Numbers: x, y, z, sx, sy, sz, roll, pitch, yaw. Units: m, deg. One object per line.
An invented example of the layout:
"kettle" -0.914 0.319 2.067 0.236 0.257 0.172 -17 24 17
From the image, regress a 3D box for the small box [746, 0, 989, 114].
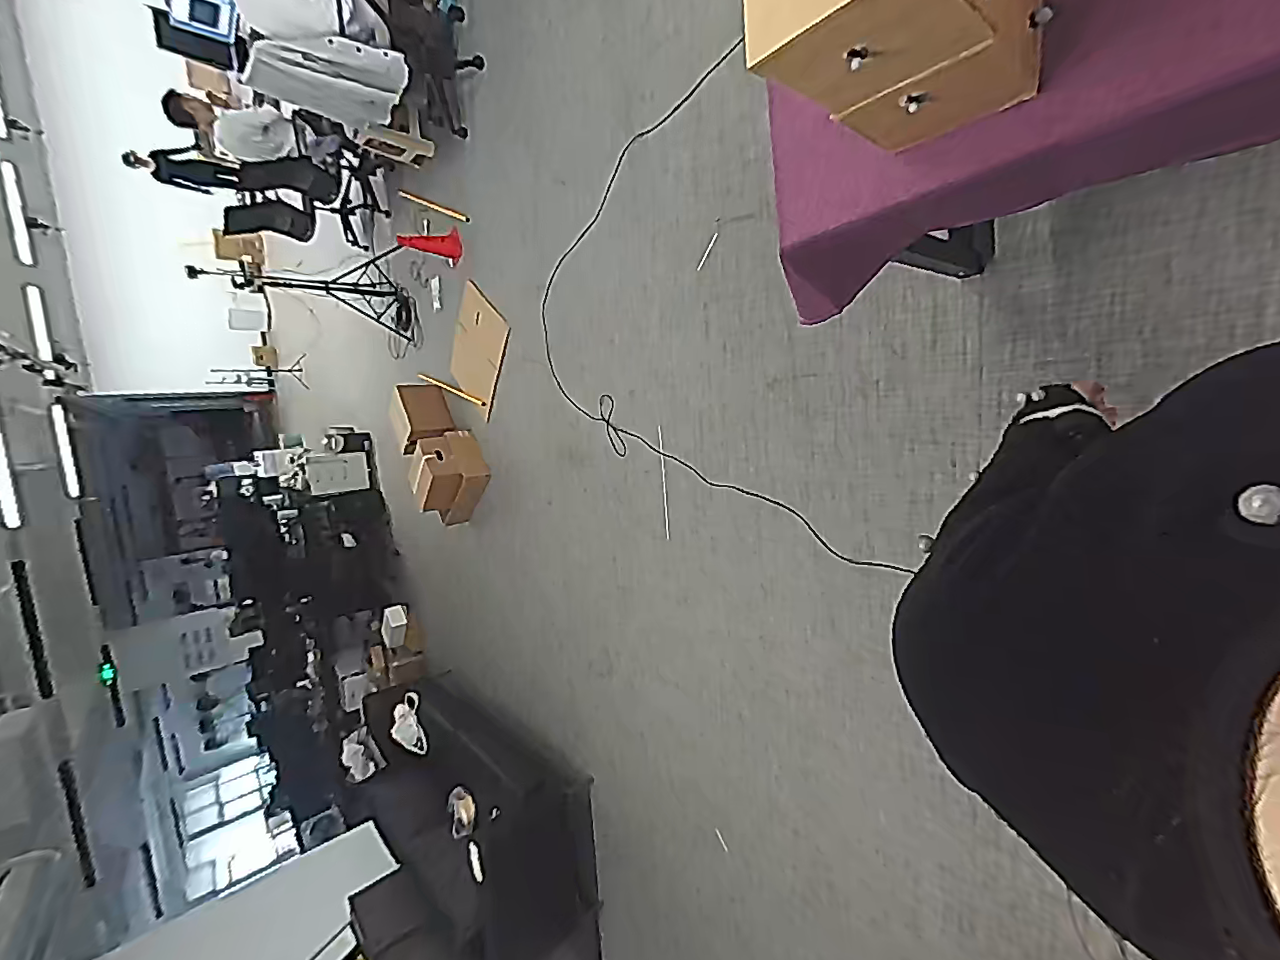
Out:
"small box" 0.222 -0.500 0.527 0.179 0.176 0.168 4 101 50

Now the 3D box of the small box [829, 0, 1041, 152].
"small box" 0.343 -0.520 0.637 0.179 0.176 0.168 5 102 49
